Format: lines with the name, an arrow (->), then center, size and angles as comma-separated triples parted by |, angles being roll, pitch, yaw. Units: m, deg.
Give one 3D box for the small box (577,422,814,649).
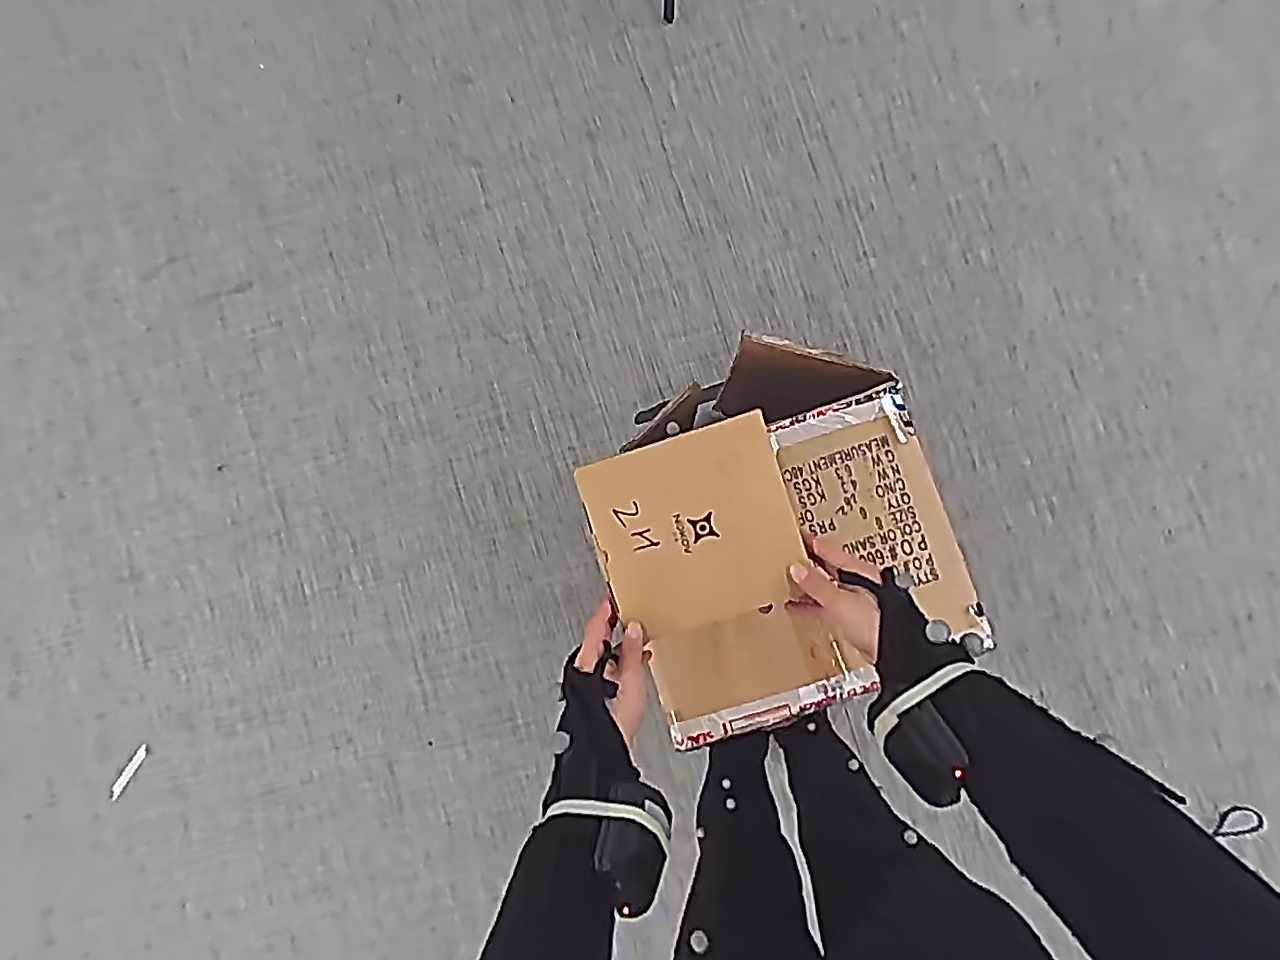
small box -> 0.052, 0.048, 0.557 | 0.179, 0.176, 0.168 | -18, 89, 4
